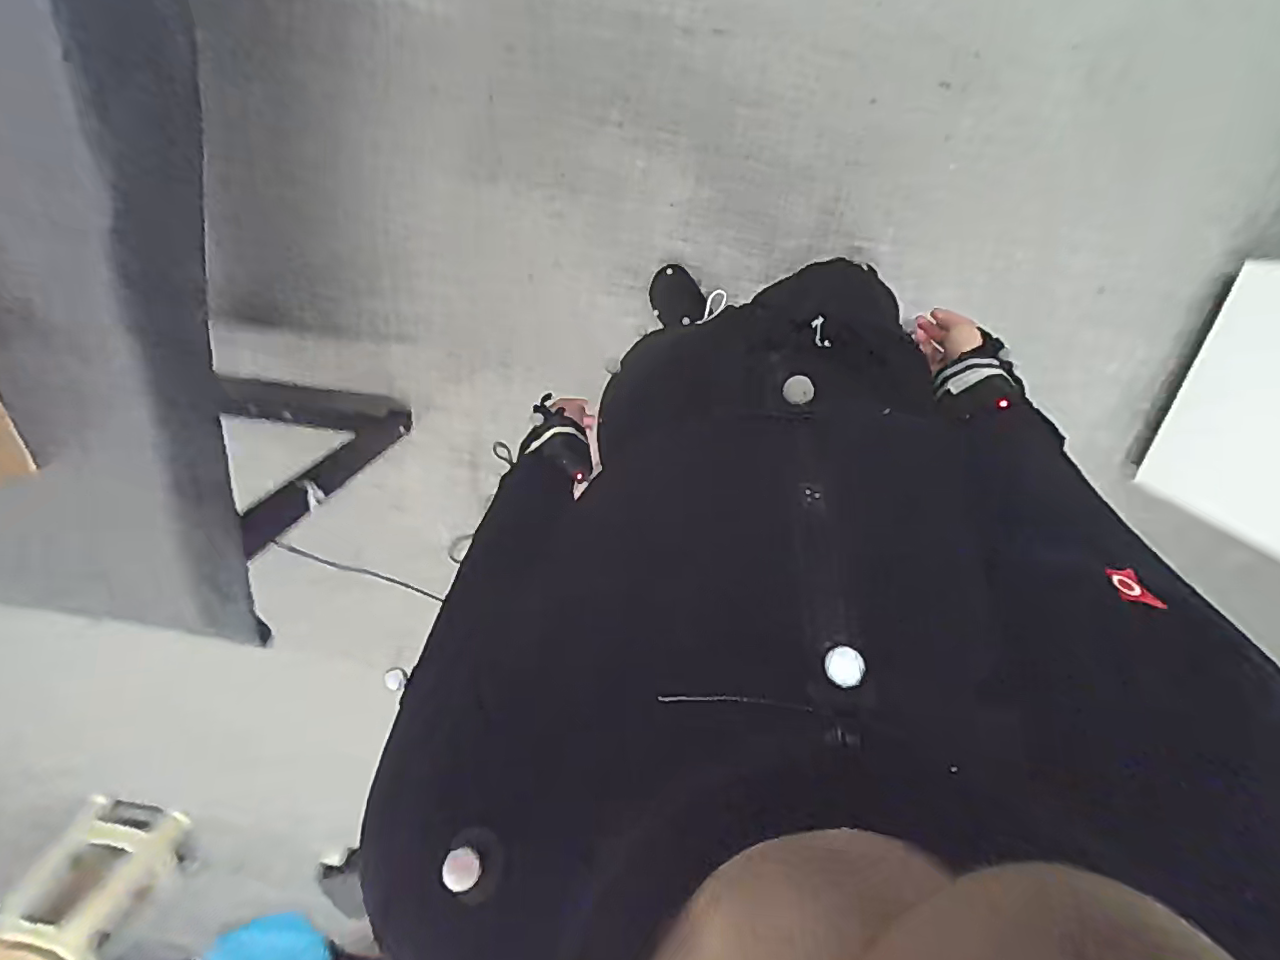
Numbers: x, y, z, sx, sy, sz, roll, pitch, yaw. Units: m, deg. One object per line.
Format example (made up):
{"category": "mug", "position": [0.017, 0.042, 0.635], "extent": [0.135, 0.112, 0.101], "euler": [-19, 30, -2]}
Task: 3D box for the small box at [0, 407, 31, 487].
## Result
{"category": "small box", "position": [-0.791, -0.040, 0.528], "extent": [0.179, 0.176, 0.168], "euler": [-3, 113, 3]}
